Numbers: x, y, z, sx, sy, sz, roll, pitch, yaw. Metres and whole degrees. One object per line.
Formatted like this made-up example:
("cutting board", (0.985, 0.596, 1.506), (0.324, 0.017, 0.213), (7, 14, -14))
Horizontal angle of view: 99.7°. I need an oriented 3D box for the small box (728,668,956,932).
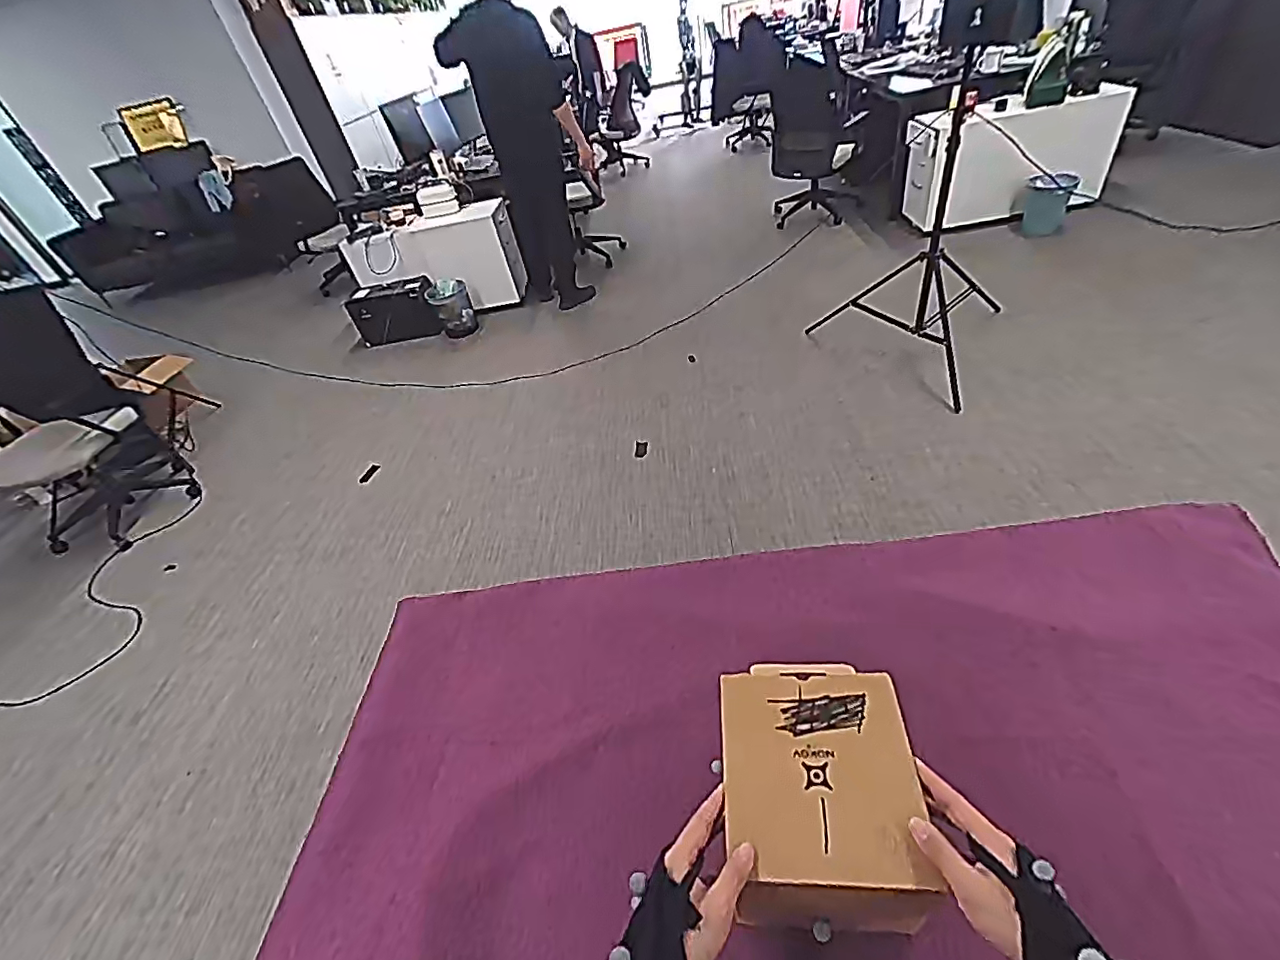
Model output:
("small box", (0.173, 0.305, 0.524), (0.168, 0.176, 0.179), (-4, 42, 10))
